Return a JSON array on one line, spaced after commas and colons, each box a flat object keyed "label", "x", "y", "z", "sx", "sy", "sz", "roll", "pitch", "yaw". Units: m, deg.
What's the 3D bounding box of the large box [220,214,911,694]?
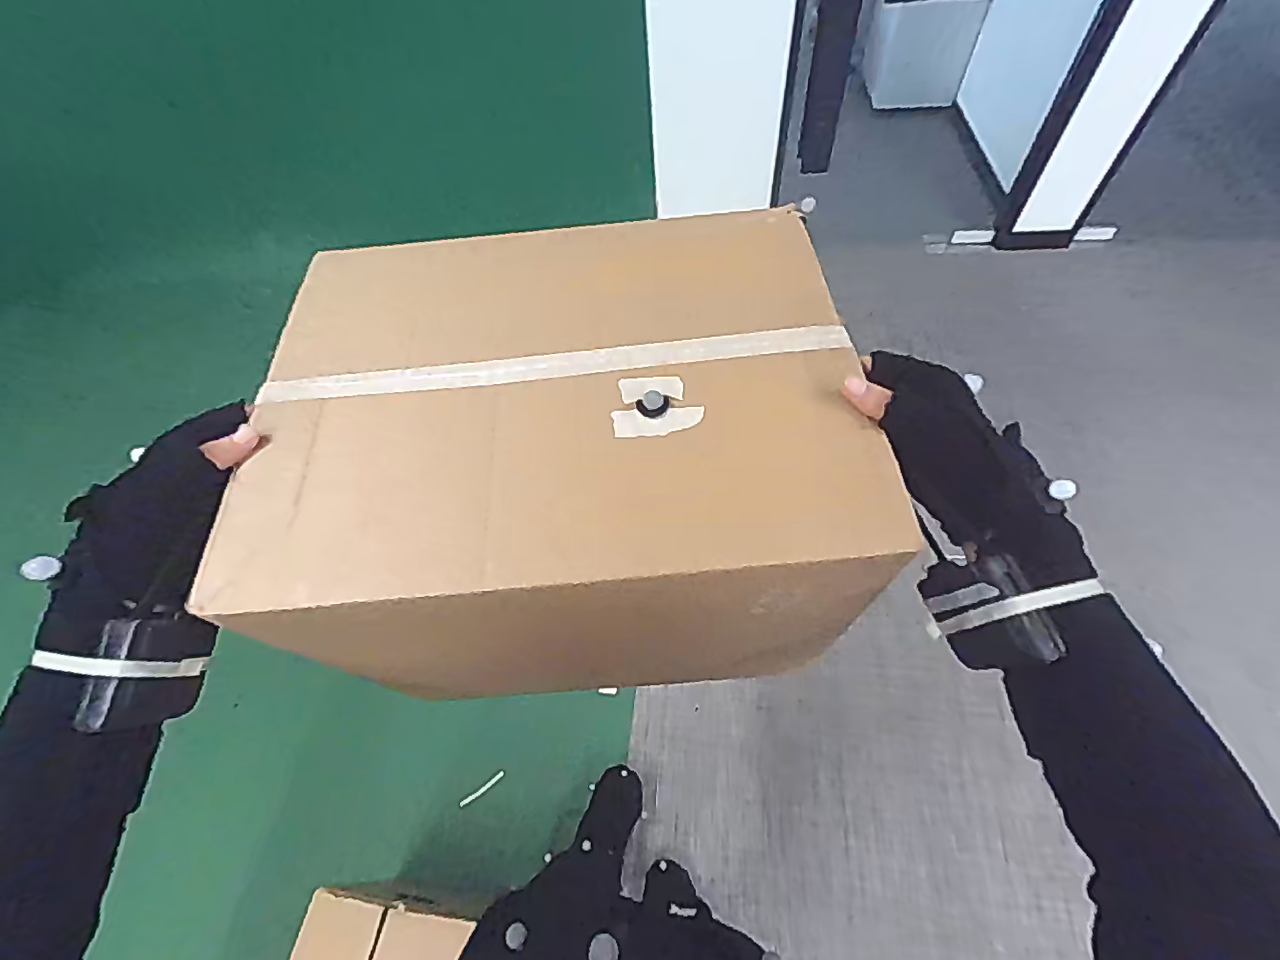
[{"label": "large box", "x": -0.047, "y": -0.003, "z": 0.508, "sx": 0.408, "sy": 0.320, "sz": 0.320, "roll": -5, "pitch": 60, "yaw": 0}]
